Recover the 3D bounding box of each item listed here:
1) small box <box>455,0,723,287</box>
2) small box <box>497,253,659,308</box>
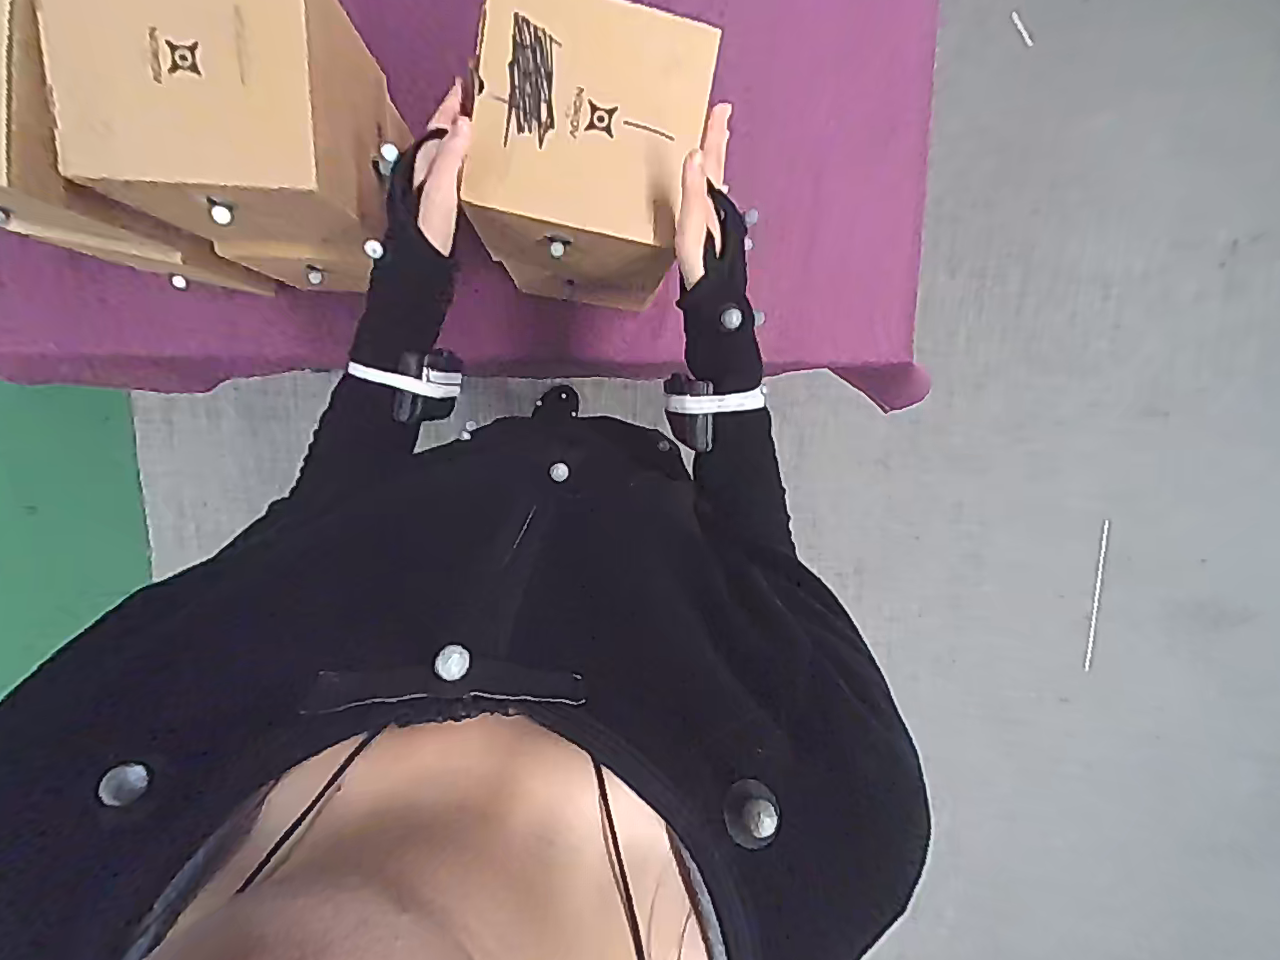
[{"bbox_3d":[-0.046,-0.284,0.479,0.179,0.176,0.168,10,96,-8],"label":"small box"},{"bbox_3d":[-0.061,-0.311,0.642,0.179,0.176,0.168,8,97,-6],"label":"small box"}]
